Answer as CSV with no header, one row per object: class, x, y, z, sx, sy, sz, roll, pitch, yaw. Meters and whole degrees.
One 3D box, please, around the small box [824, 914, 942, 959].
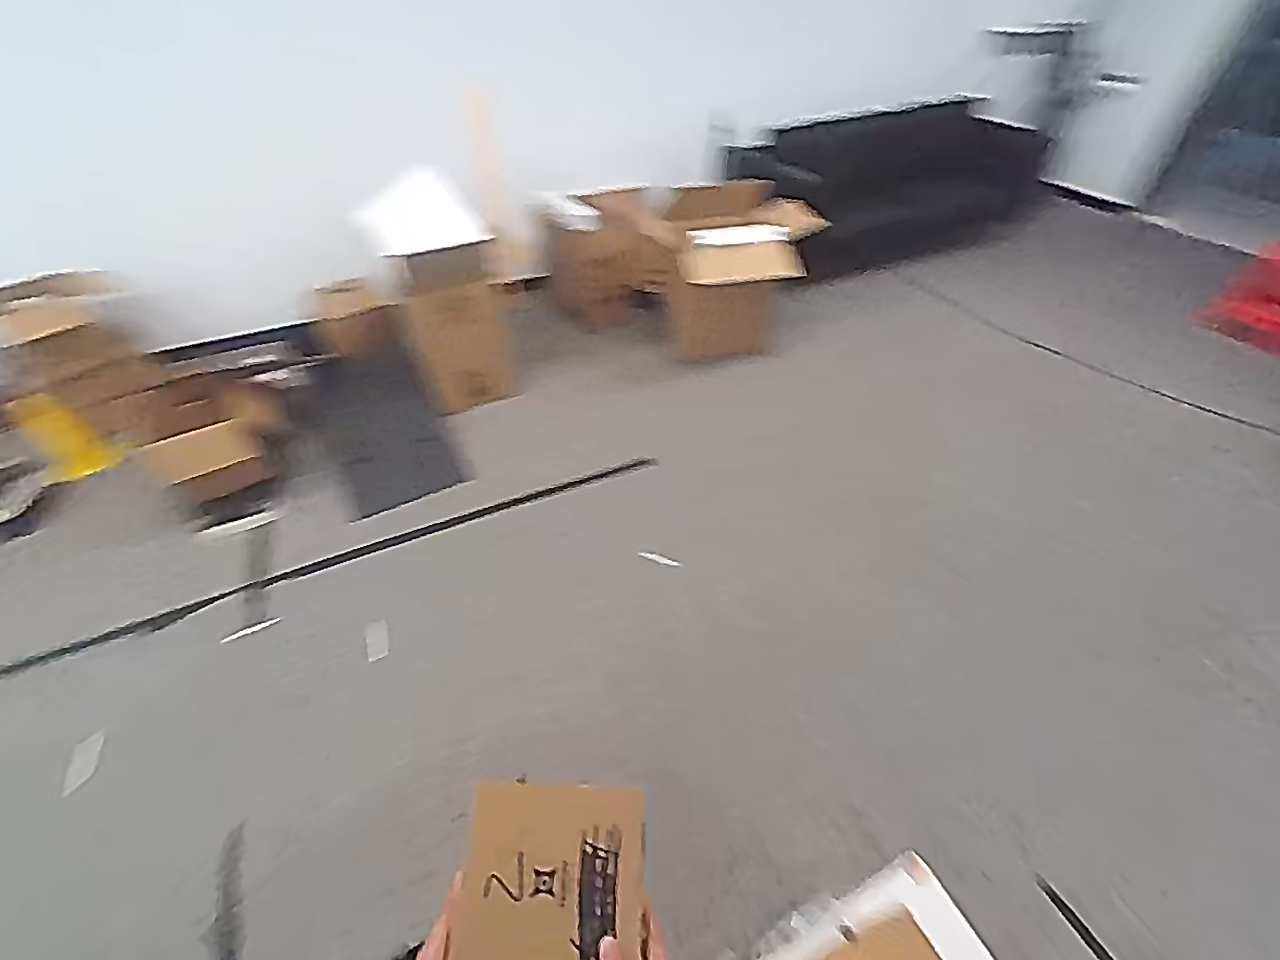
small box,0.307,0.694,0.679,0.179,0.176,0.168,-17,47,-17
